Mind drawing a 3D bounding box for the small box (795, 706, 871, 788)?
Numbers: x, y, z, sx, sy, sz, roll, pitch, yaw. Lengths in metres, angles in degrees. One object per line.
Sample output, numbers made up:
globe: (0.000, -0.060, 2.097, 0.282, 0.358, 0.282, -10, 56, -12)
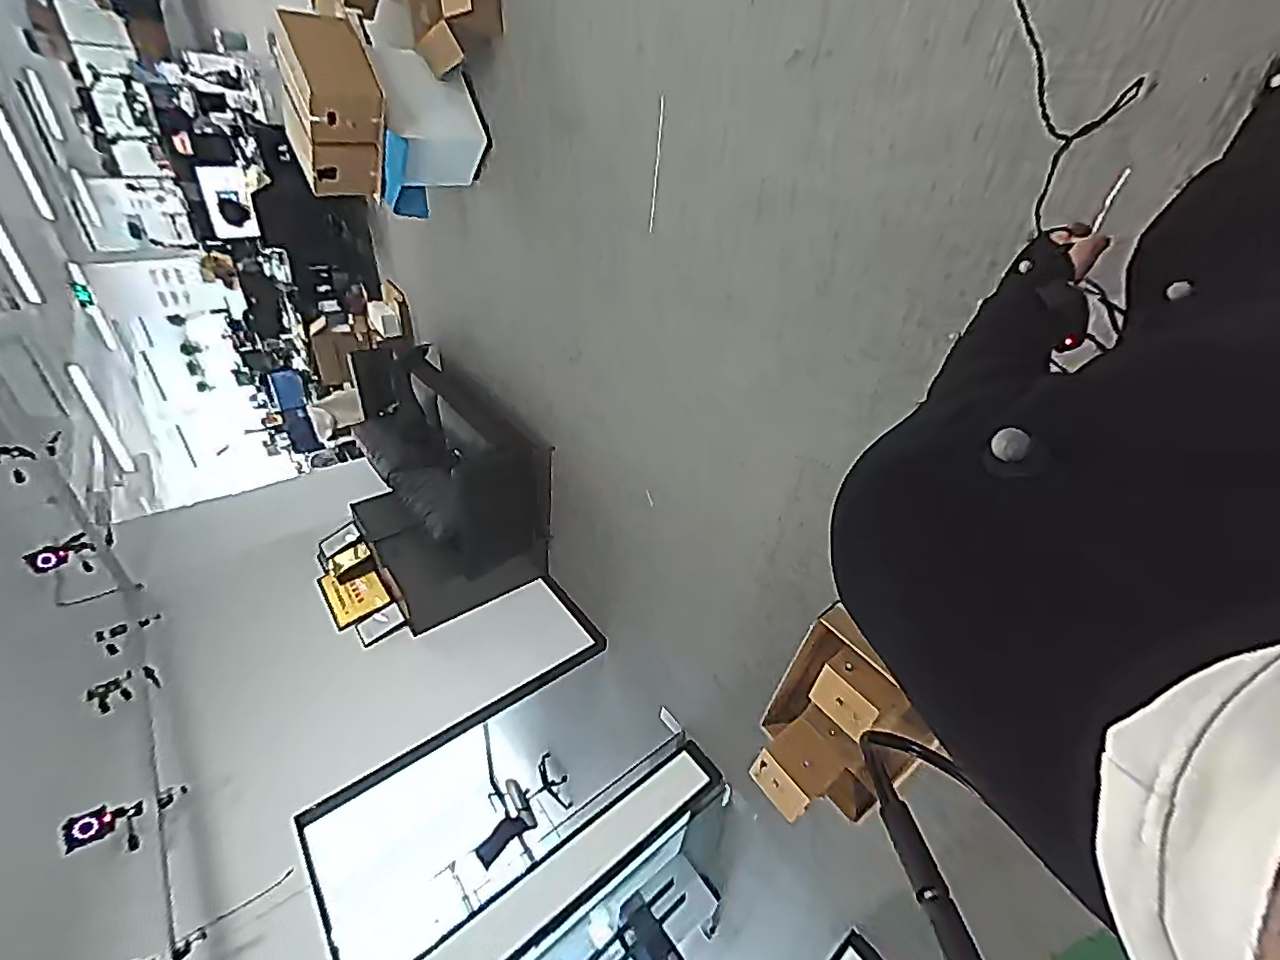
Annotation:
small box: (0.578, 0.804, 1.676, 0.179, 0.176, 0.168, 44, 138, 33)

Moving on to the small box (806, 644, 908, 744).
small box: (0.605, 0.585, 1.513, 0.179, 0.176, 0.168, 39, 137, 35)

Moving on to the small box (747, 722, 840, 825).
small box: (0.451, 0.855, 1.586, 0.179, 0.176, 0.168, 41, 136, 32)
